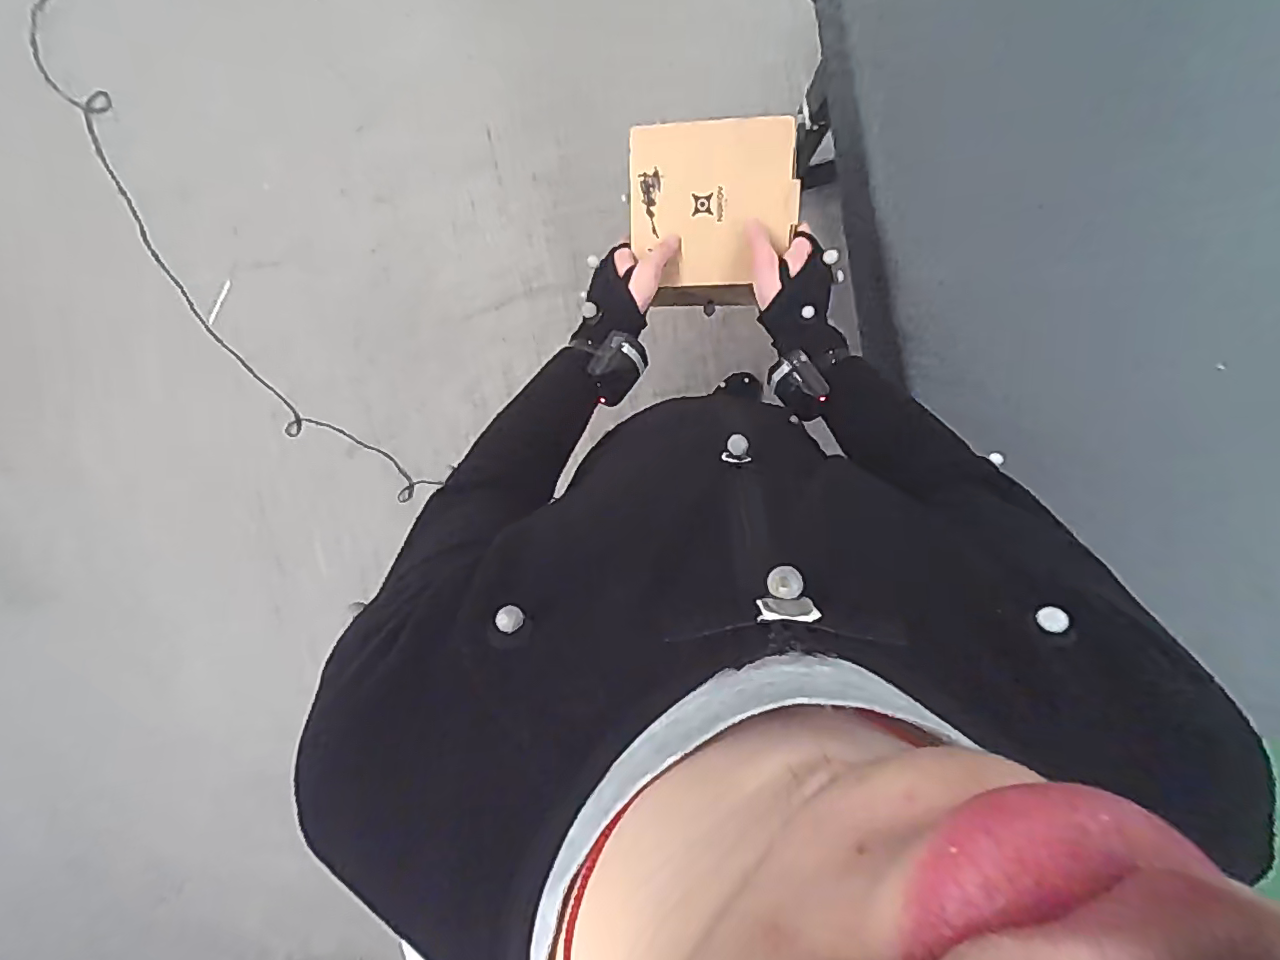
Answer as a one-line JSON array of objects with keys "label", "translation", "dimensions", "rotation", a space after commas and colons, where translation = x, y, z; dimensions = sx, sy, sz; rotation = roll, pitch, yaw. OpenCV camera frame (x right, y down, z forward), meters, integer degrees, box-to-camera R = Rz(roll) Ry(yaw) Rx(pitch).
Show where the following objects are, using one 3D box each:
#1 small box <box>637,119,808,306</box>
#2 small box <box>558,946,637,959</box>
[{"label": "small box", "translation": [0.089, -0.305, 0.647], "dimensions": [0.179, 0.176, 0.168], "rotation": [1, 101, 4]}, {"label": "small box", "translation": [-0.085, 1.095, 1.096], "dimensions": [0.179, 0.176, 0.168], "rotation": [-11, 100, 7]}]
